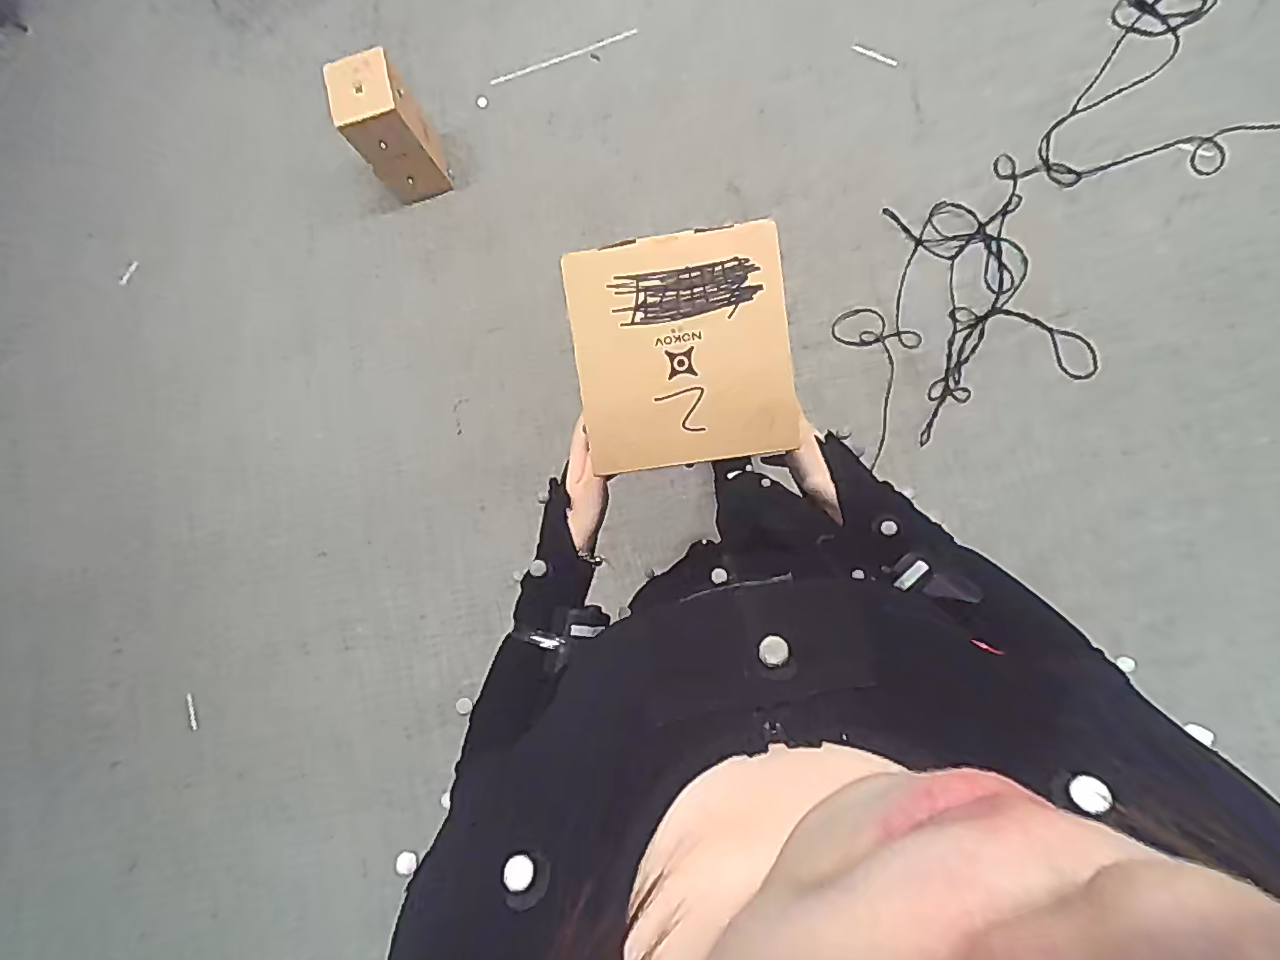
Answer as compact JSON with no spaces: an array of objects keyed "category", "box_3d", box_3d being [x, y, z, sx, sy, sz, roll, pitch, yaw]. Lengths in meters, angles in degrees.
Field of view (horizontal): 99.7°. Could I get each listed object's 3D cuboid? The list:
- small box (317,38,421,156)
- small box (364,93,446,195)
[{"category":"small box","box_3d":[-0.696,-0.982,1.407,0.168,0.176,0.179,-14,85,4]},{"category":"small box","box_3d":[-0.685,-0.969,1.571,0.179,0.176,0.168,-14,85,6]}]
